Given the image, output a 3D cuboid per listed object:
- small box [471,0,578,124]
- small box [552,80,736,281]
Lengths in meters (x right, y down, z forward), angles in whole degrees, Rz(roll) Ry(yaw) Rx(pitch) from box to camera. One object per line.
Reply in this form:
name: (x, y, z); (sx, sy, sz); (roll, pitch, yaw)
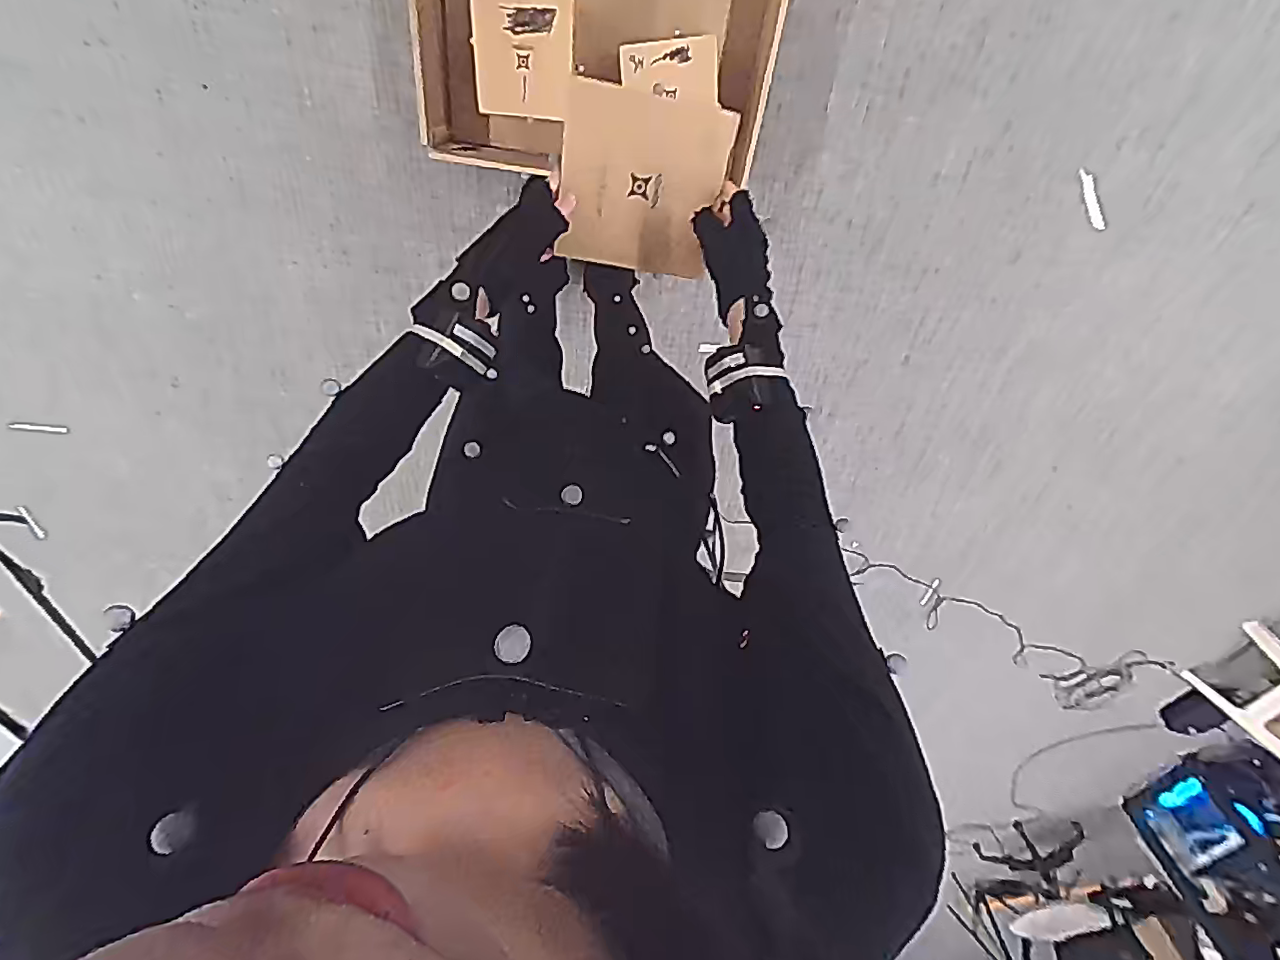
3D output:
small box: (-0.199, -0.753, 0.966); (0.168, 0.176, 0.179); (3, 127, -5)
small box: (-0.008, -0.344, 0.641); (0.179, 0.176, 0.168); (5, 116, -10)
